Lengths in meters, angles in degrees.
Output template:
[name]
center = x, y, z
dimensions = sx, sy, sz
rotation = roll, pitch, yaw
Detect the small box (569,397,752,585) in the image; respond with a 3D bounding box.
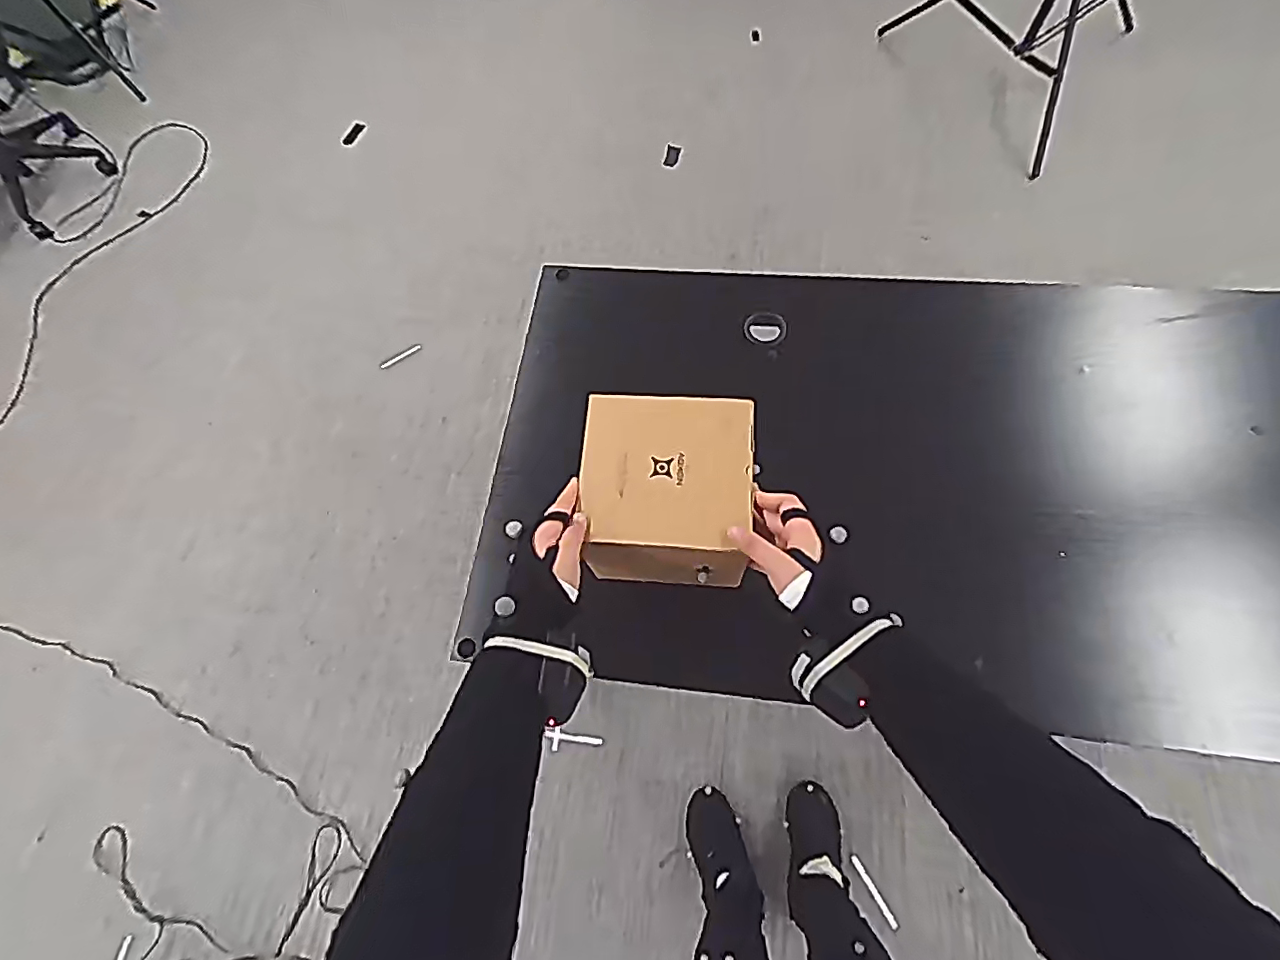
[small box]
center = 0.030, 0.020, 0.617
dimensions = 0.179, 0.176, 0.168
rotation = 2, 67, 6
